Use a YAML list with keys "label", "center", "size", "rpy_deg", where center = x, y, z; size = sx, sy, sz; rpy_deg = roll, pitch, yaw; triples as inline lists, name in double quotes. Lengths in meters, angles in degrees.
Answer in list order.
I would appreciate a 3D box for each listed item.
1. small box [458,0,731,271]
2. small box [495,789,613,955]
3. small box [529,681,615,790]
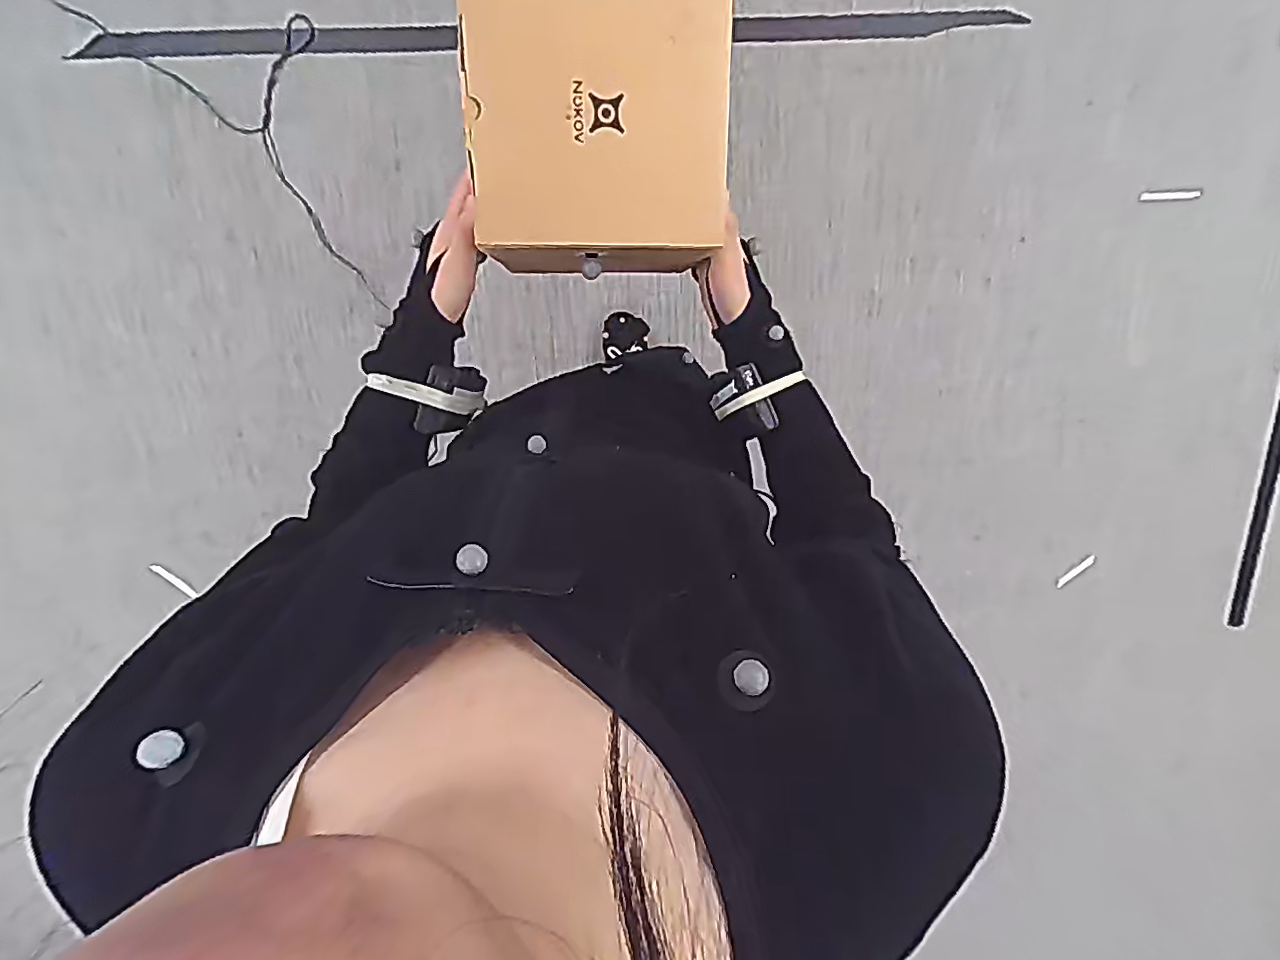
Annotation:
- label: "small box"
  center: [-0.033, -0.266, 0.436]
  size: [0.179, 0.176, 0.168]
  rpy_deg: [-2, 106, -3]
- label: "small box"
  center: [-0.137, 0.656, 0.921]
  size: [0.179, 0.176, 0.168]
  rpy_deg: [0, 103, -2]
- label: "small box"
  center: [-0.149, 0.580, 1.241]
  size: [0.179, 0.176, 0.168]
  rpy_deg: [-3, 102, 0]
